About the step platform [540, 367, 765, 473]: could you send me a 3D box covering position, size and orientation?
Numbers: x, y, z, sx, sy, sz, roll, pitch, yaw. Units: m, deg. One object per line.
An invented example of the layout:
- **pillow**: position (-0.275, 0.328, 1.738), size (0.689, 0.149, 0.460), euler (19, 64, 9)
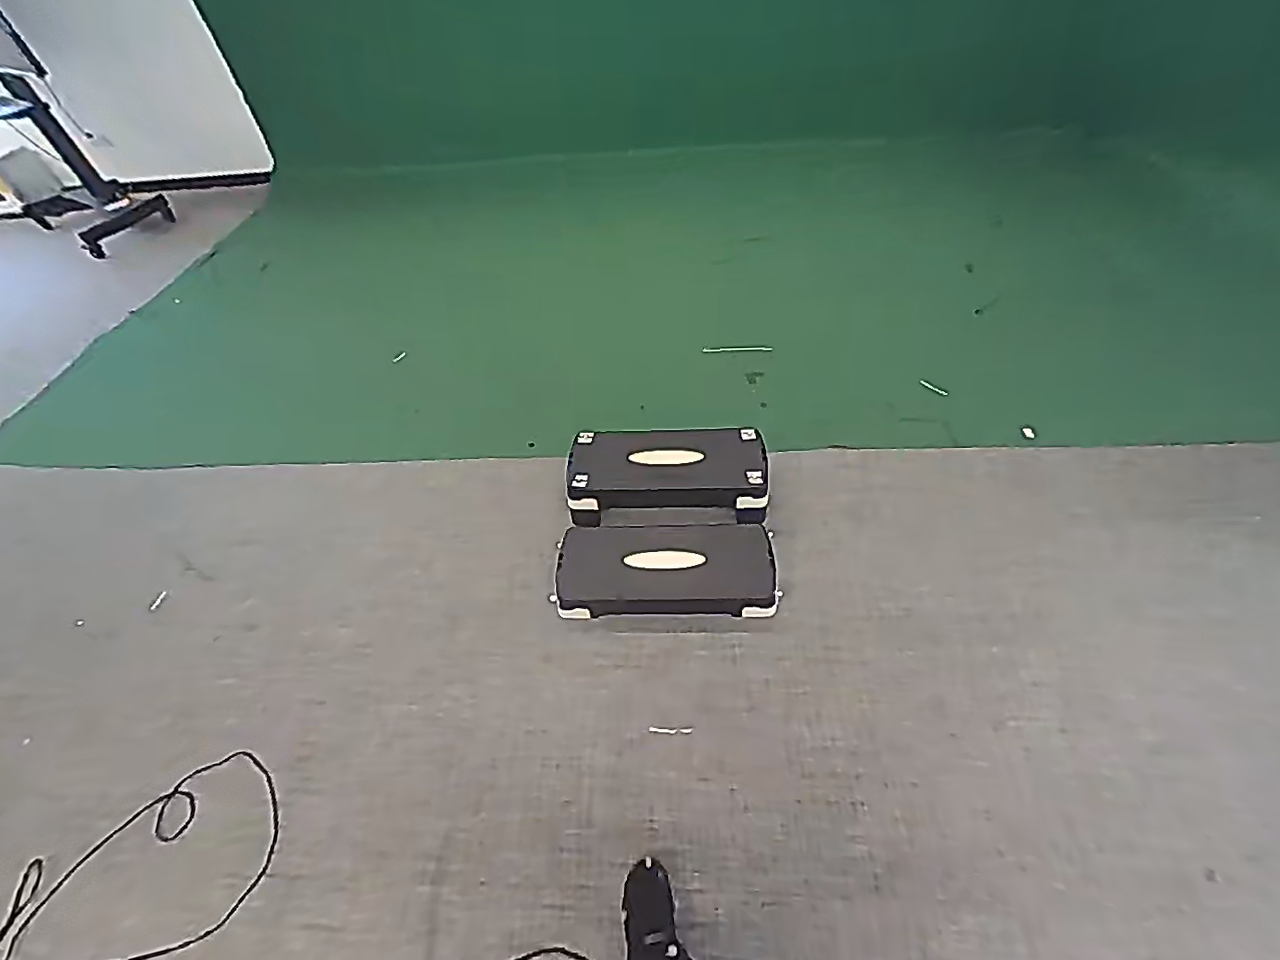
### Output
- **step platform**: position (0.041, -0.189, 1.723), size (0.684, 0.204, 0.286), euler (-2, 50, 4)
